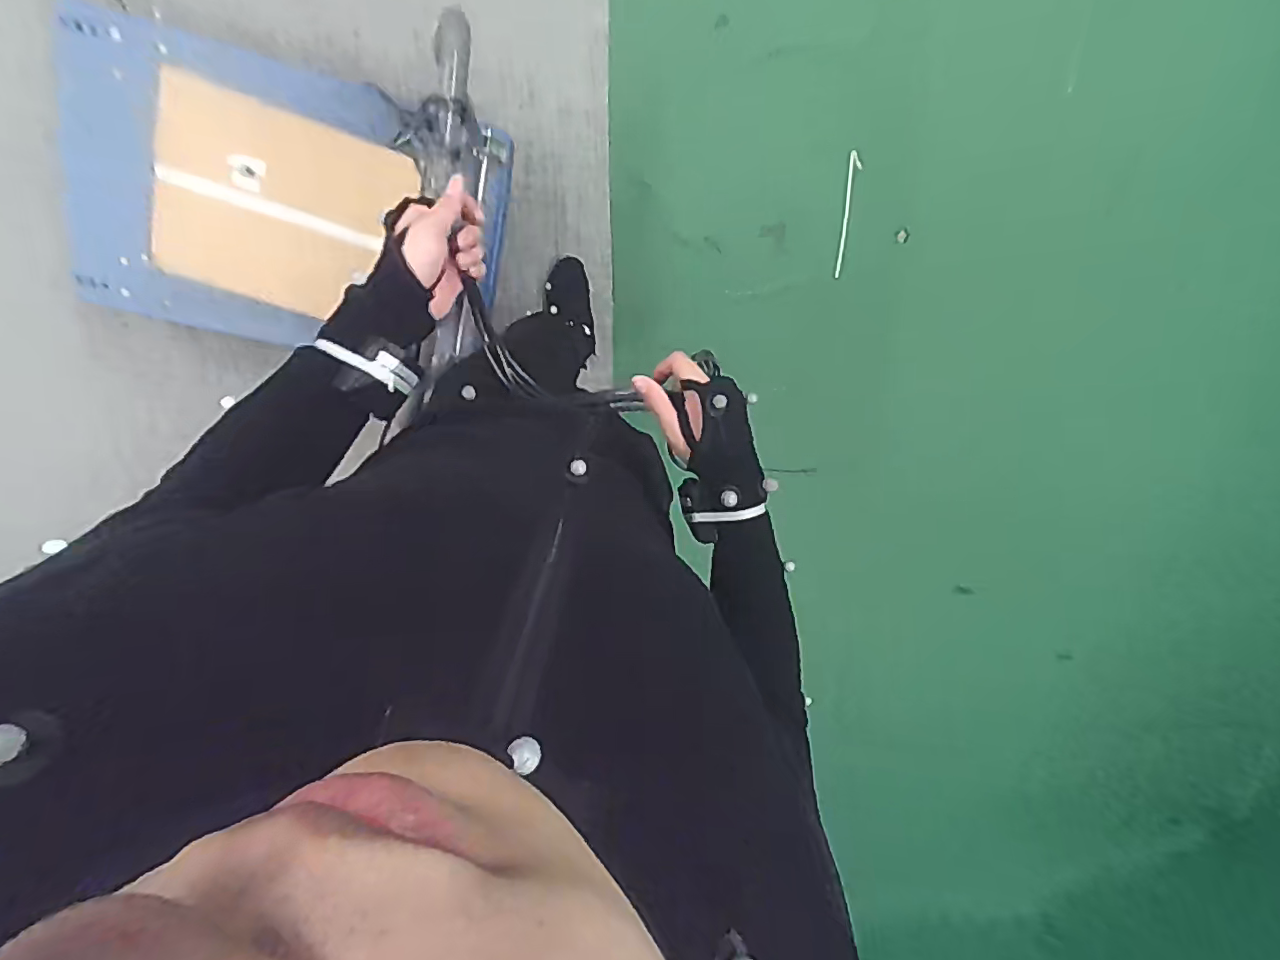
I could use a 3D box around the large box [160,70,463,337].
[{"bbox_3d":[-0.602,-0.501,1.058,0.408,0.320,0.320,16,107,-12],"label":"large box"}]
